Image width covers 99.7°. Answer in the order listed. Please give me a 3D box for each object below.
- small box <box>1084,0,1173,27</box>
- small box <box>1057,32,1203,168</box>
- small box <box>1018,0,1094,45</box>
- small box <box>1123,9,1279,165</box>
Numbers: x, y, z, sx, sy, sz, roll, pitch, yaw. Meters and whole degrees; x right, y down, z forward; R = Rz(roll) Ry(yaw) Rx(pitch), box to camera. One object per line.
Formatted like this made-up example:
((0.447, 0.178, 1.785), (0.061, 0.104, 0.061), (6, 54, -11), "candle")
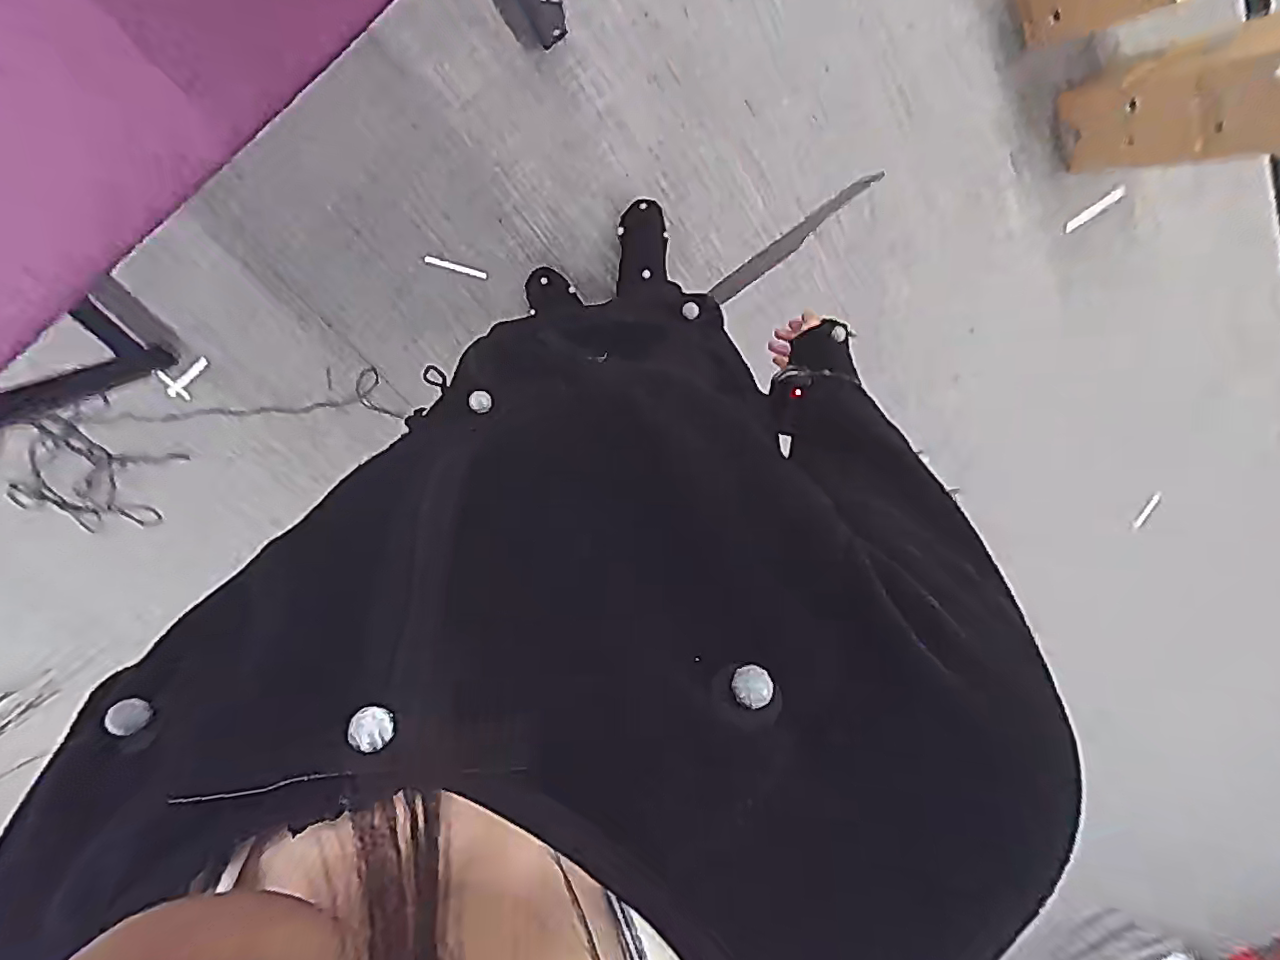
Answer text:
((0.877, -0.918, 0.901), (0.168, 0.176, 0.179), (-35, 116, 11), "small box")
((1.046, -0.799, 1.159), (0.168, 0.176, 0.179), (-31, 116, 9), "small box")
((0.865, -0.996, 1.044), (0.179, 0.176, 0.168), (-37, 115, 10), "small box")
((1.060, -0.721, 1.014), (0.179, 0.176, 0.168), (-32, 115, 9), "small box")
